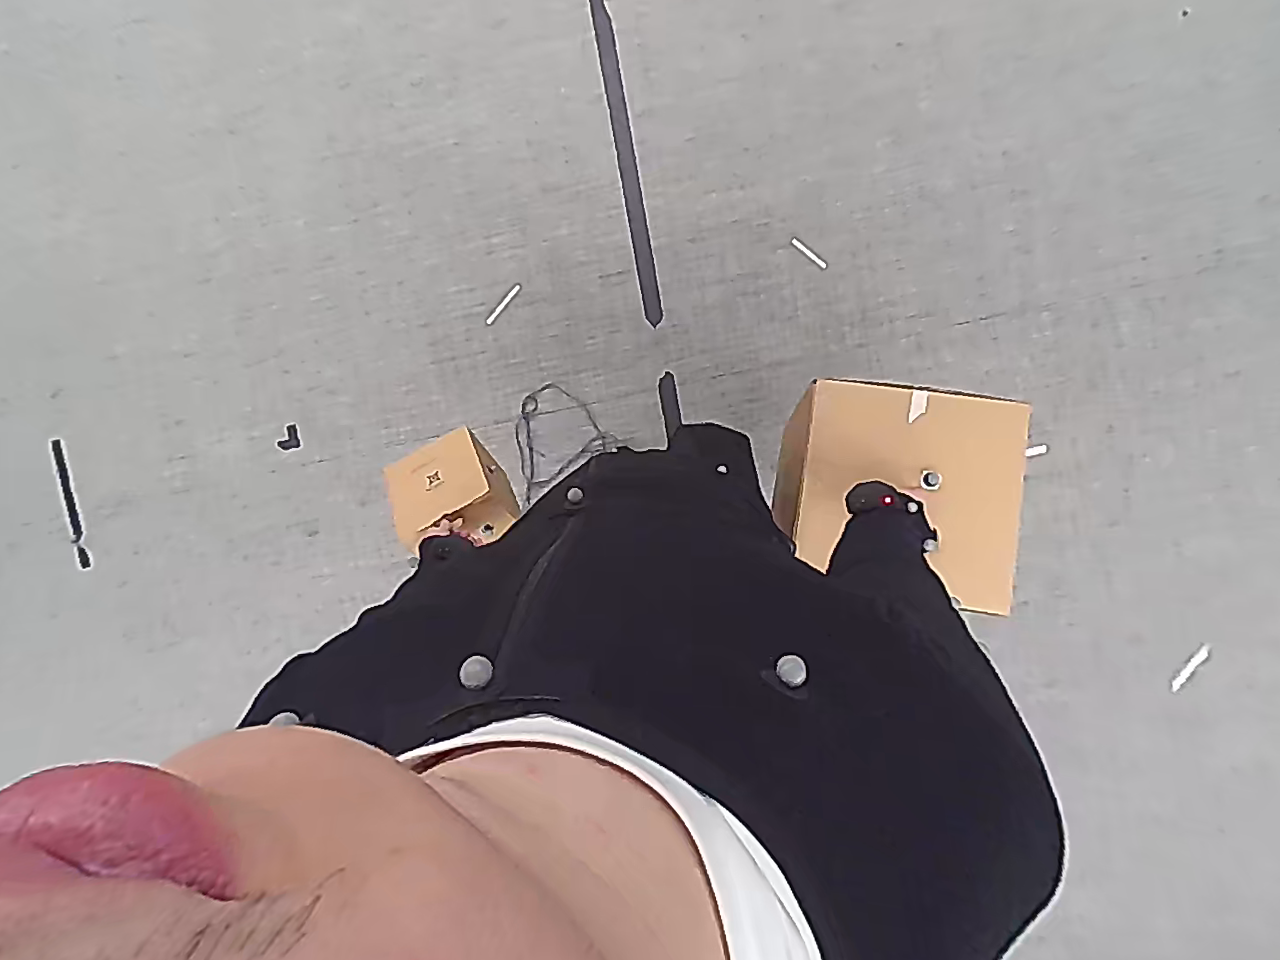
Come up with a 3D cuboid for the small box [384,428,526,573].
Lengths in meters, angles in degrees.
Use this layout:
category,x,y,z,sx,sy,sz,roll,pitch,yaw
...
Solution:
category,x,y,z,sx,sy,sz,roll,pitch,yaw
small box,-0.329,0.046,0.978,0.168,0.176,0.179,-28,54,-4
